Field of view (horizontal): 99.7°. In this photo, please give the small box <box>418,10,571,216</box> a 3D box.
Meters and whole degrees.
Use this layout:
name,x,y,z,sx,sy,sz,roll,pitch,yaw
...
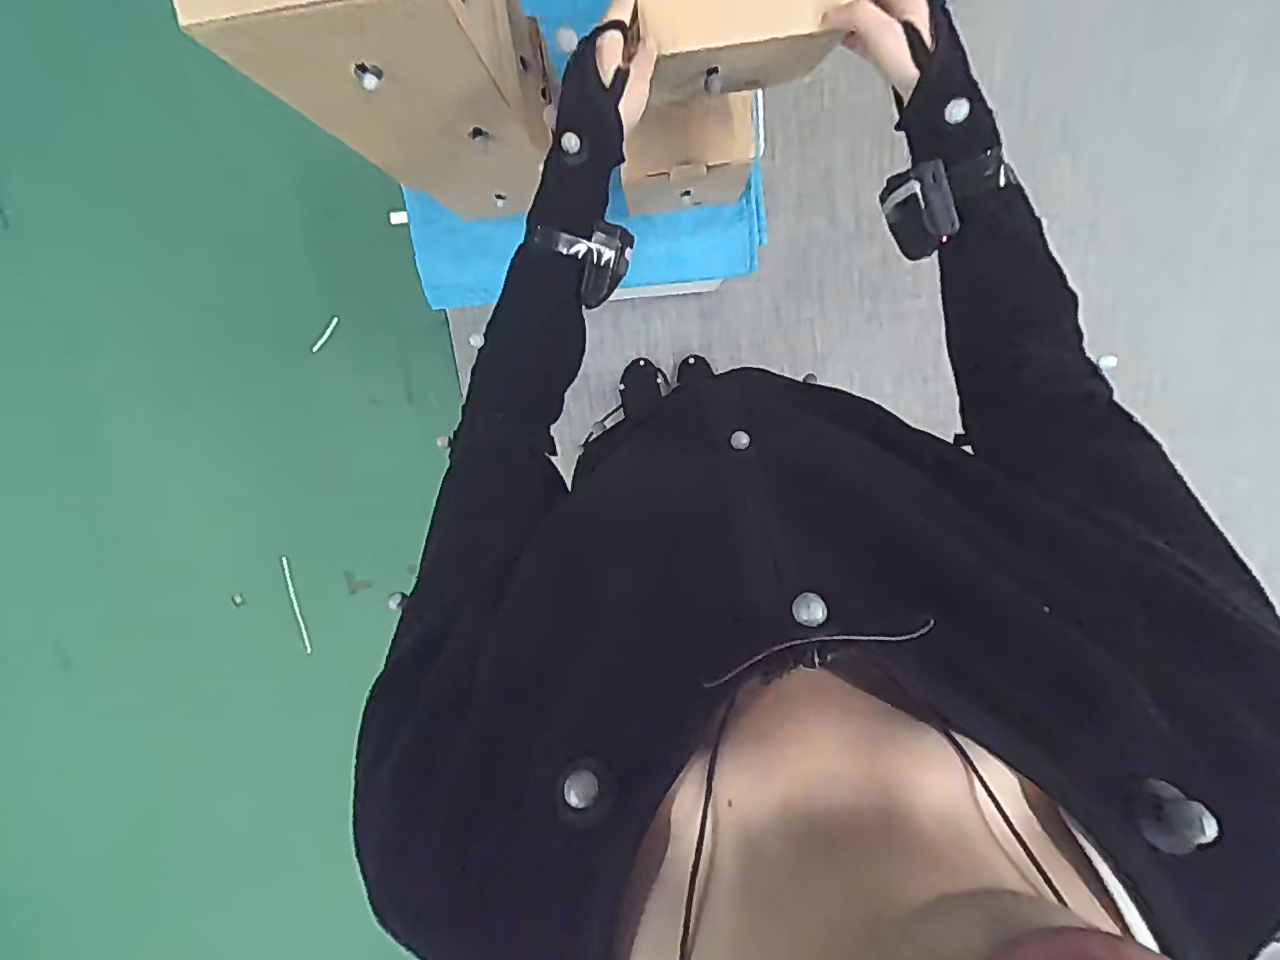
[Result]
name,x,y,z,sx,sy,sz,roll,pitch,yaw
small box,-0.193,-0.466,0.715,0.179,0.176,0.168,-6,101,4

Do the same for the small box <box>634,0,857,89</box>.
name,x,y,z,sx,sy,sz,roll,pitch,yaw
small box,0.077,-0.448,0.445,0.168,0.176,0.179,-4,113,5

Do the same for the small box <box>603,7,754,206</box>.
name,x,y,z,sx,sy,sz,roll,pitch,yaw
small box,0.051,-0.474,0.705,0.168,0.176,0.179,-6,102,3

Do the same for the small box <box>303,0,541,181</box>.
name,x,y,z,sx,sy,sz,roll,pitch,yaw
small box,-0.207,-0.430,0.555,0.179,0.176,0.168,-6,101,4
